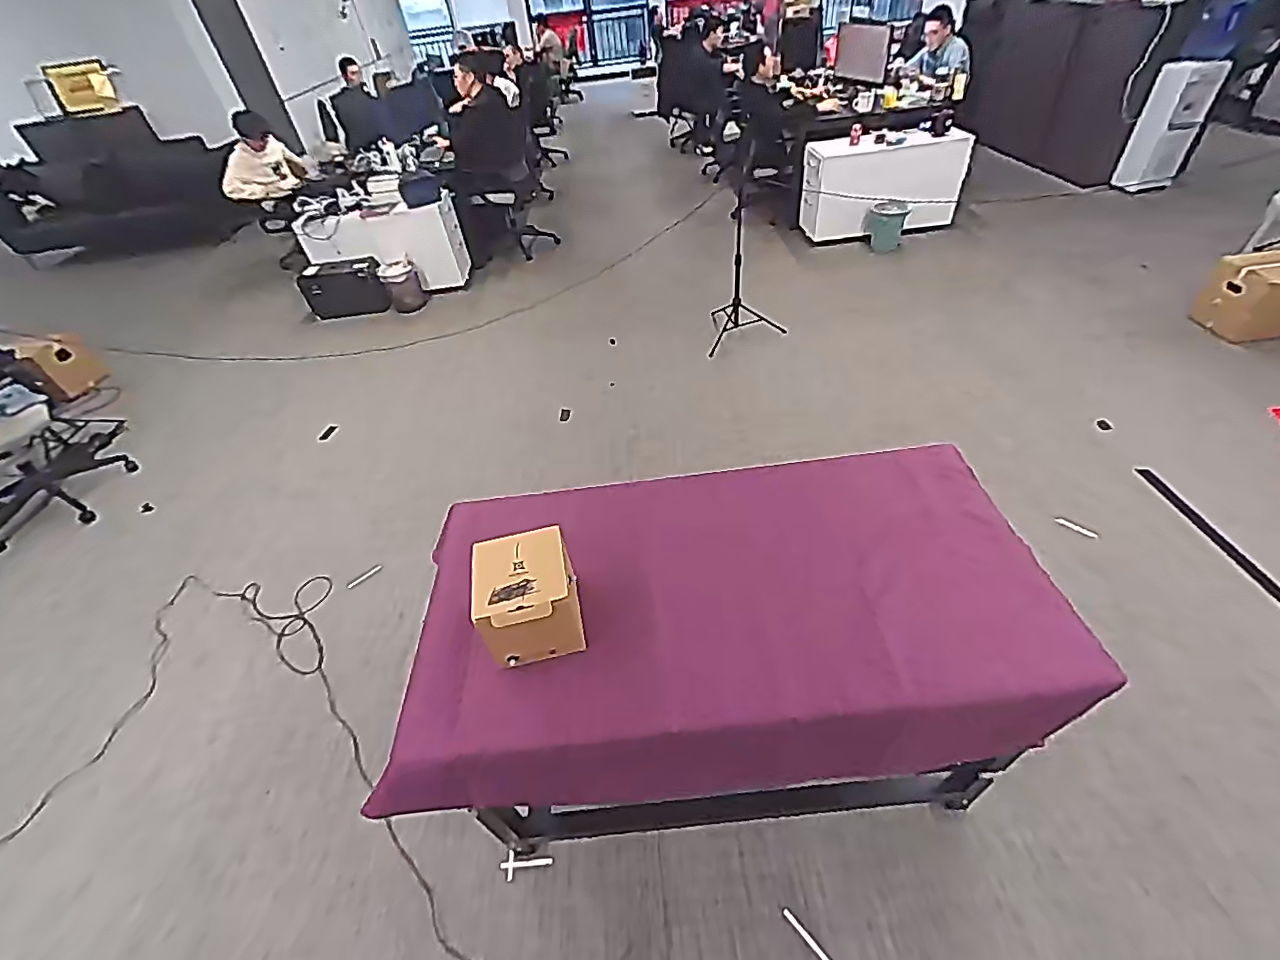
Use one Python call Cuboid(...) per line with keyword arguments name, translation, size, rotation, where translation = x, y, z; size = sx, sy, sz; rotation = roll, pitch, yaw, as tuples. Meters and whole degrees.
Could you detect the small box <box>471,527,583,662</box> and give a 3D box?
Cuboid(name="small box", translation=(-0.208, 0.219, 1.012), size=(0.168, 0.176, 0.179), rotation=(-12, 42, -5))
